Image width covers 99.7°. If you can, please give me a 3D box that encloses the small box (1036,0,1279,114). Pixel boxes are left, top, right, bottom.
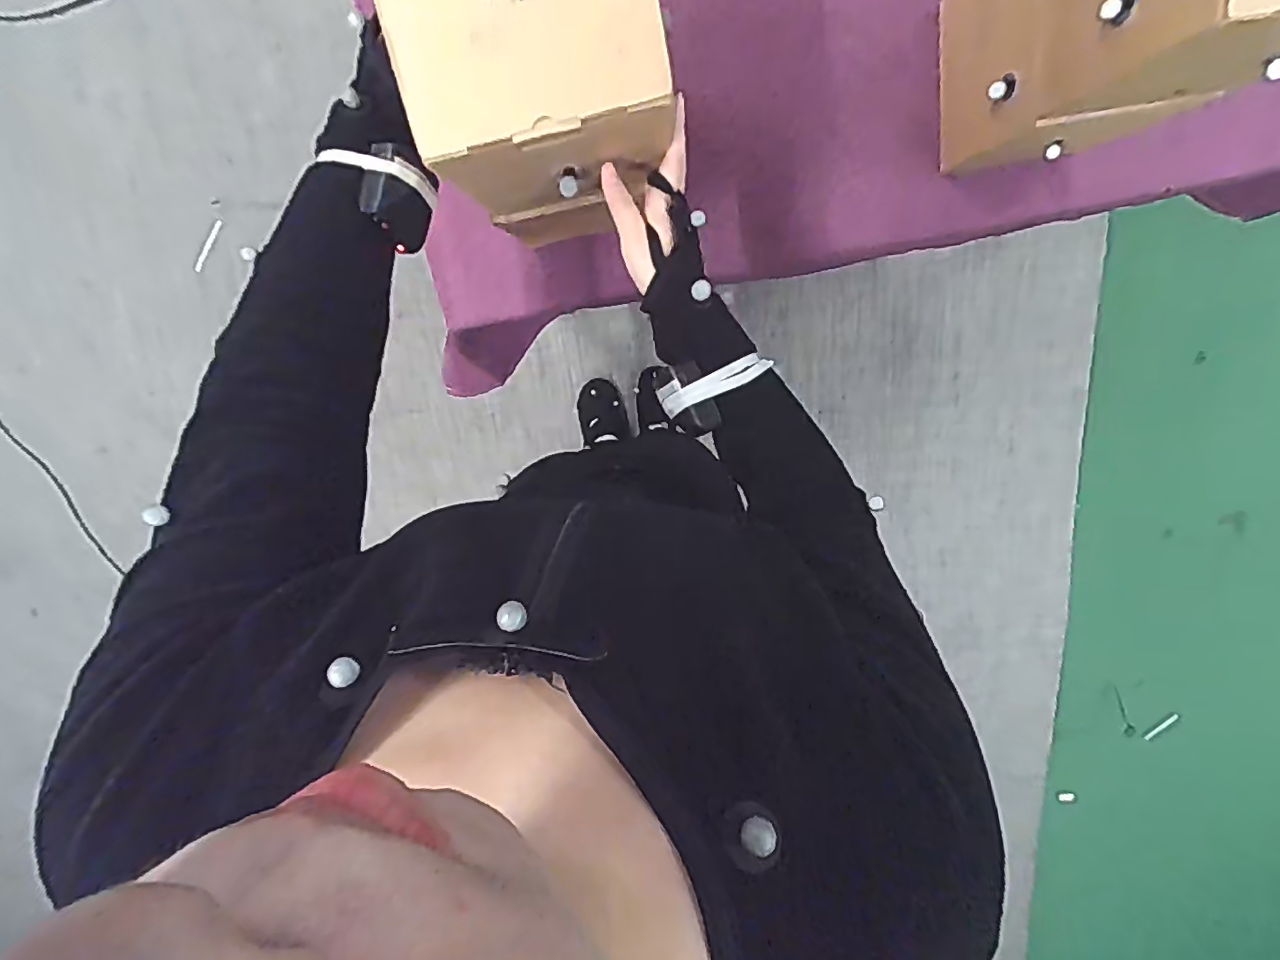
[{"bbox_3d":[0.421,-0.387,0.381,0.168,0.176,0.179,-6,105,2],"label":"small box"}]

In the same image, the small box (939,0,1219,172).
[{"bbox_3d":[0.423,-0.427,0.540,0.168,0.176,0.179,-8,105,3],"label":"small box"}]

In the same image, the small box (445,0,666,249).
[{"bbox_3d":[-0.073,-0.355,0.570,0.179,0.176,0.168,-11,105,3],"label":"small box"}]
